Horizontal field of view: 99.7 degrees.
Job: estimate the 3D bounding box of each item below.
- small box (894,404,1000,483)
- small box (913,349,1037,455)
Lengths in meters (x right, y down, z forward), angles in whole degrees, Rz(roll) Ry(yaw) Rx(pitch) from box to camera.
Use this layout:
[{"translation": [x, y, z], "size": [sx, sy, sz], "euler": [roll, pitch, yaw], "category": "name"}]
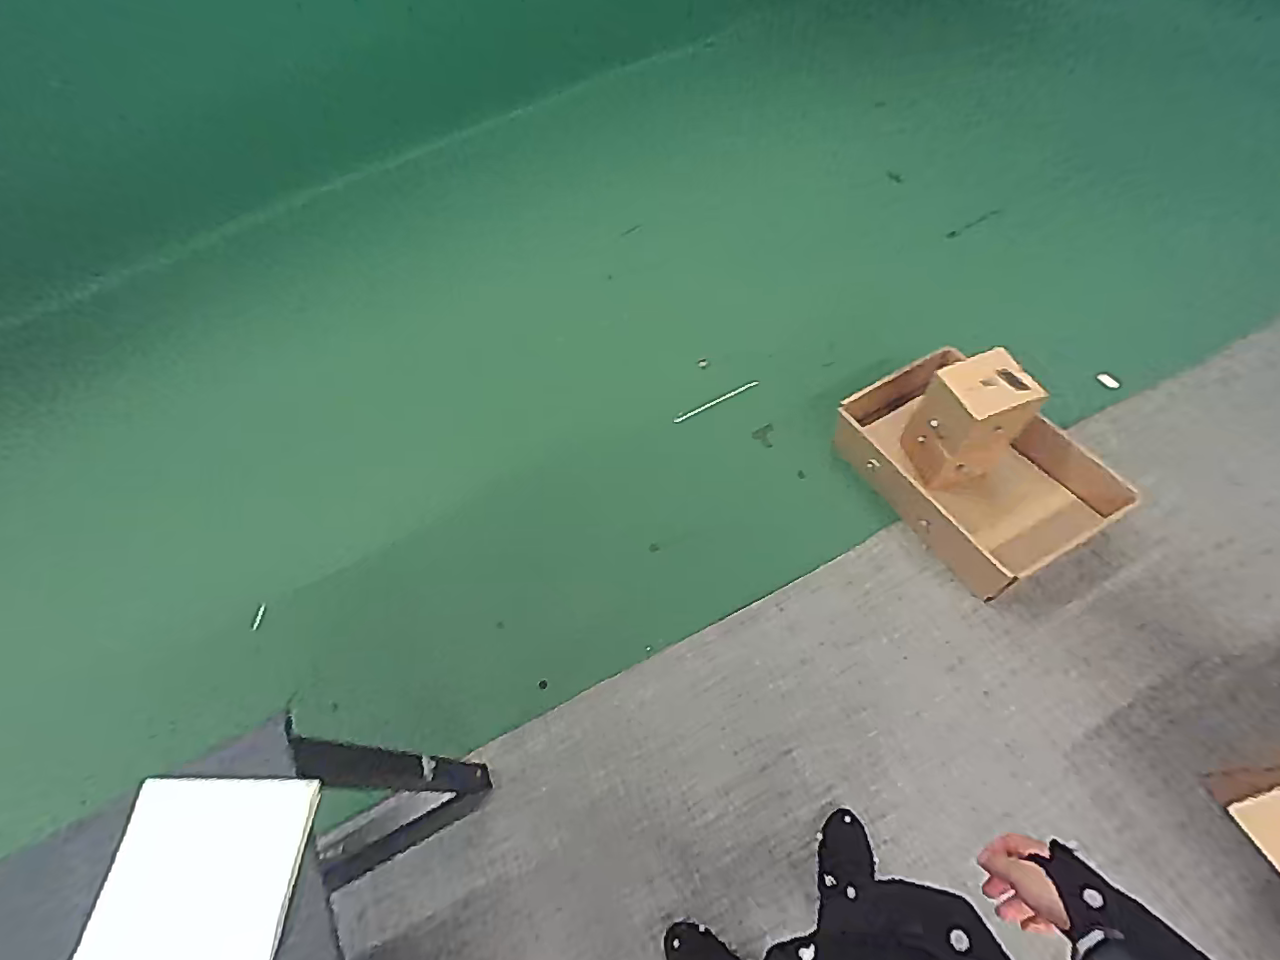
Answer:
[{"translation": [0.835, -0.111, 1.491], "size": [0.168, 0.176, 0.179], "euler": [-17, 59, -1], "category": "small box"}, {"translation": [0.820, -0.190, 1.347], "size": [0.179, 0.176, 0.168], "euler": [-20, 59, -2], "category": "small box"}]
